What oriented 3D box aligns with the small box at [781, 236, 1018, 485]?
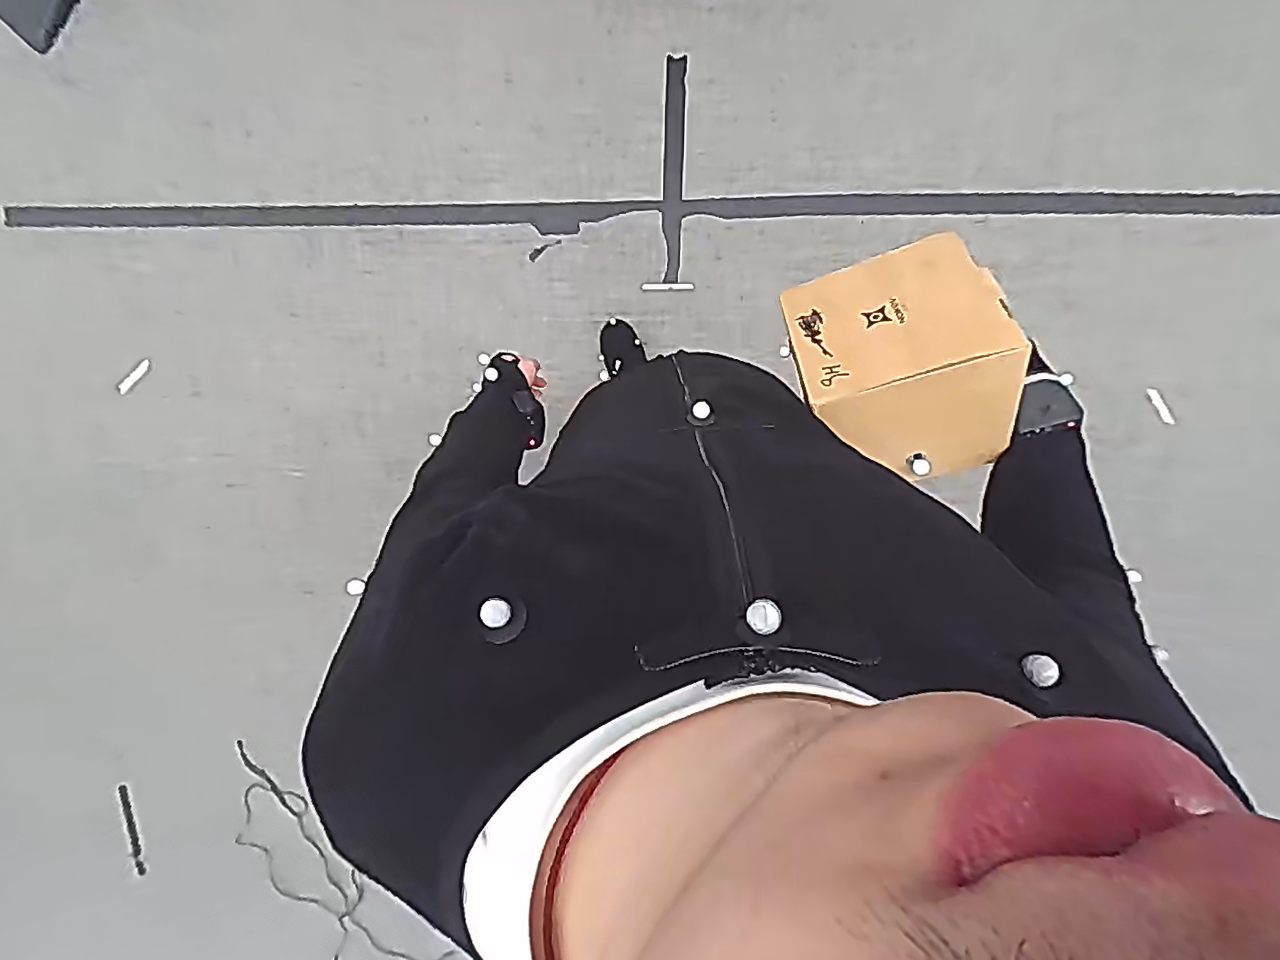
[{"bbox_3d":[0.265,-0.118,0.583,0.179,0.168,0.176,-15,142,17],"label":"small box"}]
